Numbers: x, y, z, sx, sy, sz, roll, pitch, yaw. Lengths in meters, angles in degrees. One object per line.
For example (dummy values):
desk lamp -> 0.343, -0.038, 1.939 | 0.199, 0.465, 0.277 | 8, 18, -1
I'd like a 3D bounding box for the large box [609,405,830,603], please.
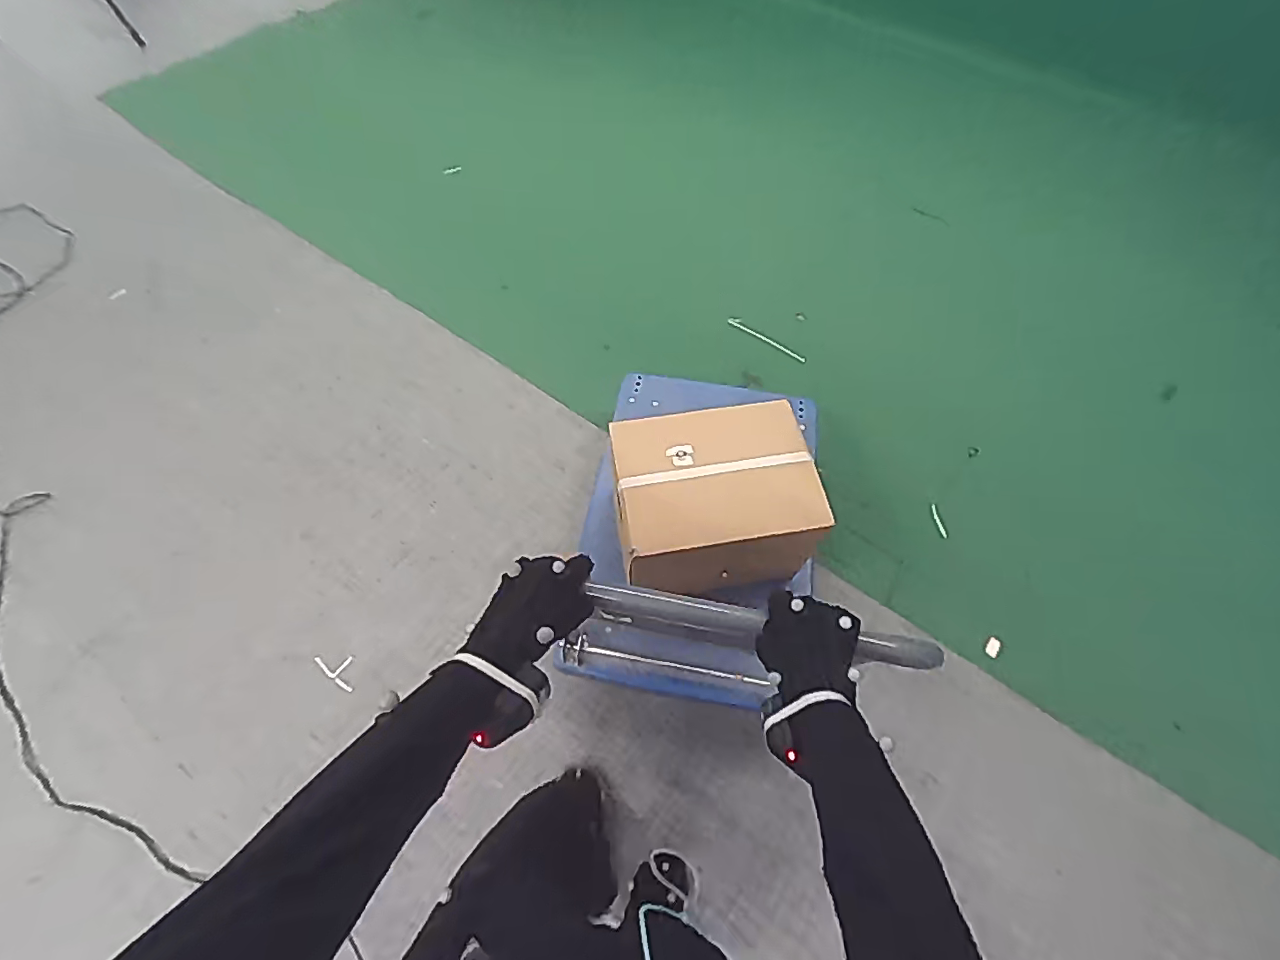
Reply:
large box -> 0.154, 0.064, 1.240 | 0.408, 0.320, 0.320 | -8, 60, -5
